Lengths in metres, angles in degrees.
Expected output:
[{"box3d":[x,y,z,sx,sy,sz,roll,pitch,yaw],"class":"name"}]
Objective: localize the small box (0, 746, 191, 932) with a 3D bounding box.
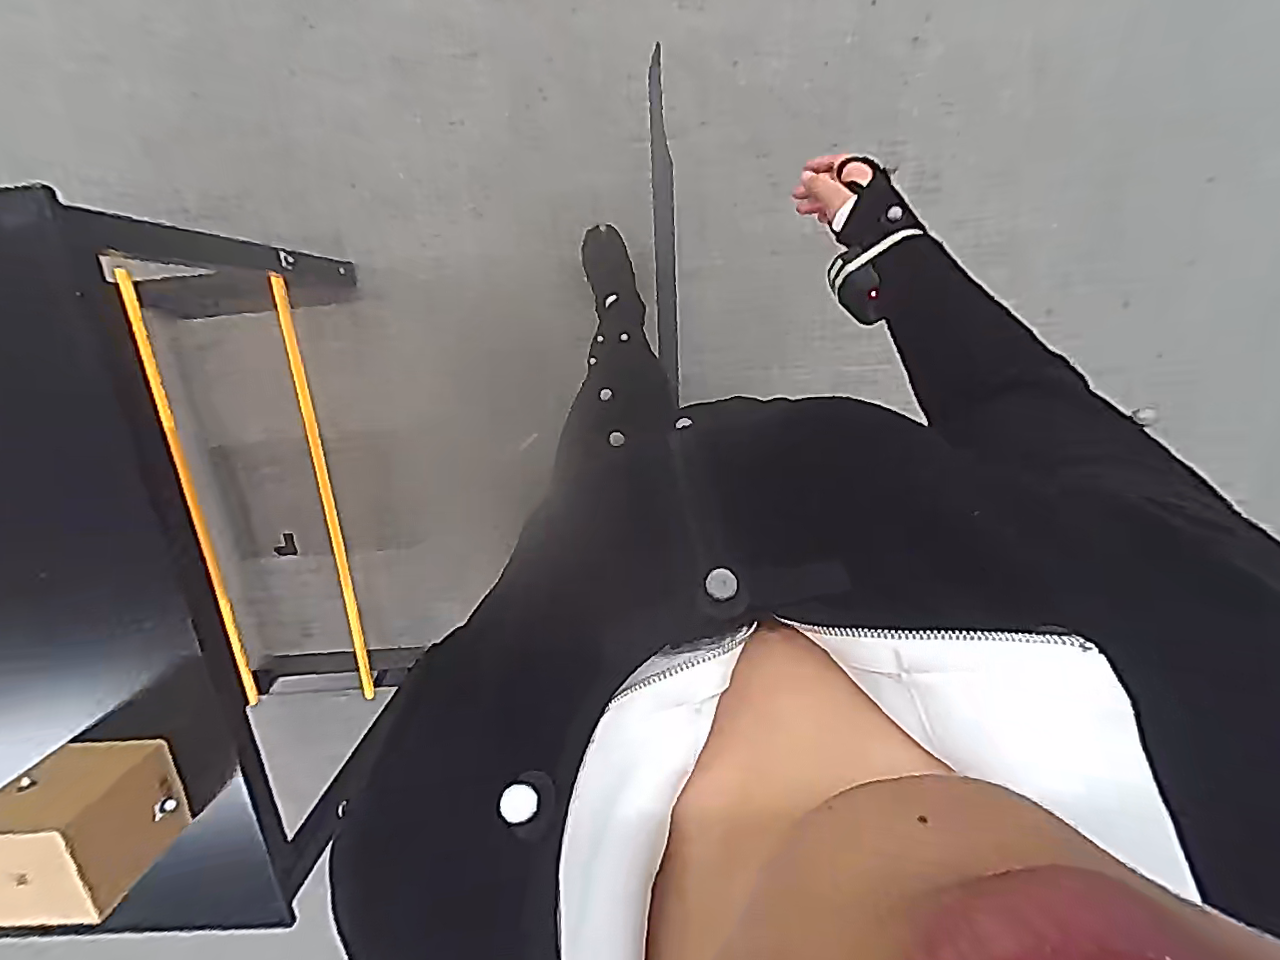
[{"box3d":[-0.835,0.523,0.805,0.179,0.176,0.168,-4,106,2],"class":"small box"}]
